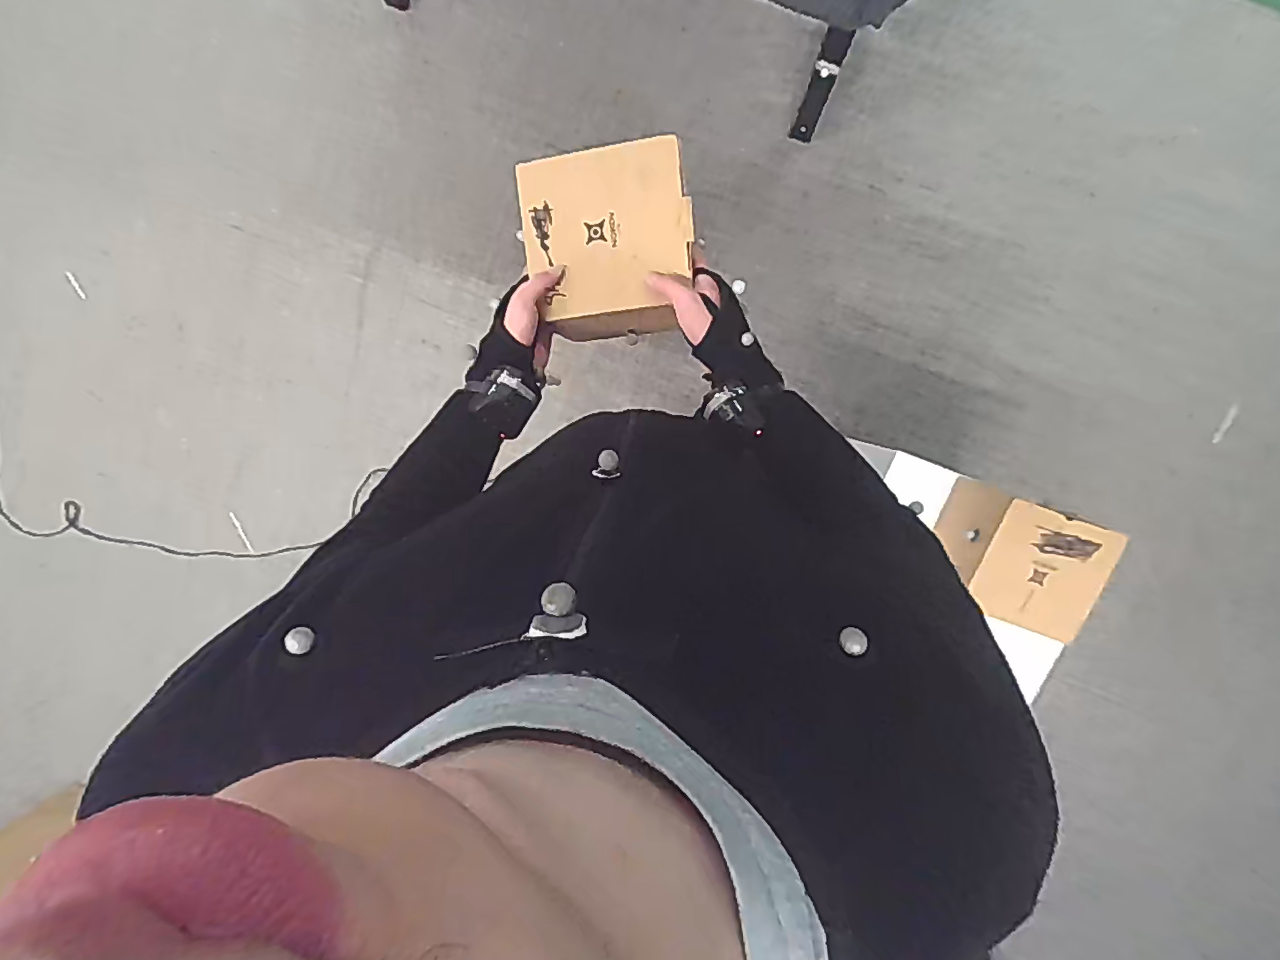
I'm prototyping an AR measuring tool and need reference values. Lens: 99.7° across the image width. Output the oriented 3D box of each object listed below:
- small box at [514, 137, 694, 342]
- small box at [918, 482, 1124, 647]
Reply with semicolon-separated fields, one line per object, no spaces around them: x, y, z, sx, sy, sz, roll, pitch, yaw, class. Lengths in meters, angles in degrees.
-0.029;-0.264;0.635;0.179;0.176;0.168;-5;95;8;small box
0.563;0.117;0.832;0.168;0.176;0.179;20;102;3;small box
